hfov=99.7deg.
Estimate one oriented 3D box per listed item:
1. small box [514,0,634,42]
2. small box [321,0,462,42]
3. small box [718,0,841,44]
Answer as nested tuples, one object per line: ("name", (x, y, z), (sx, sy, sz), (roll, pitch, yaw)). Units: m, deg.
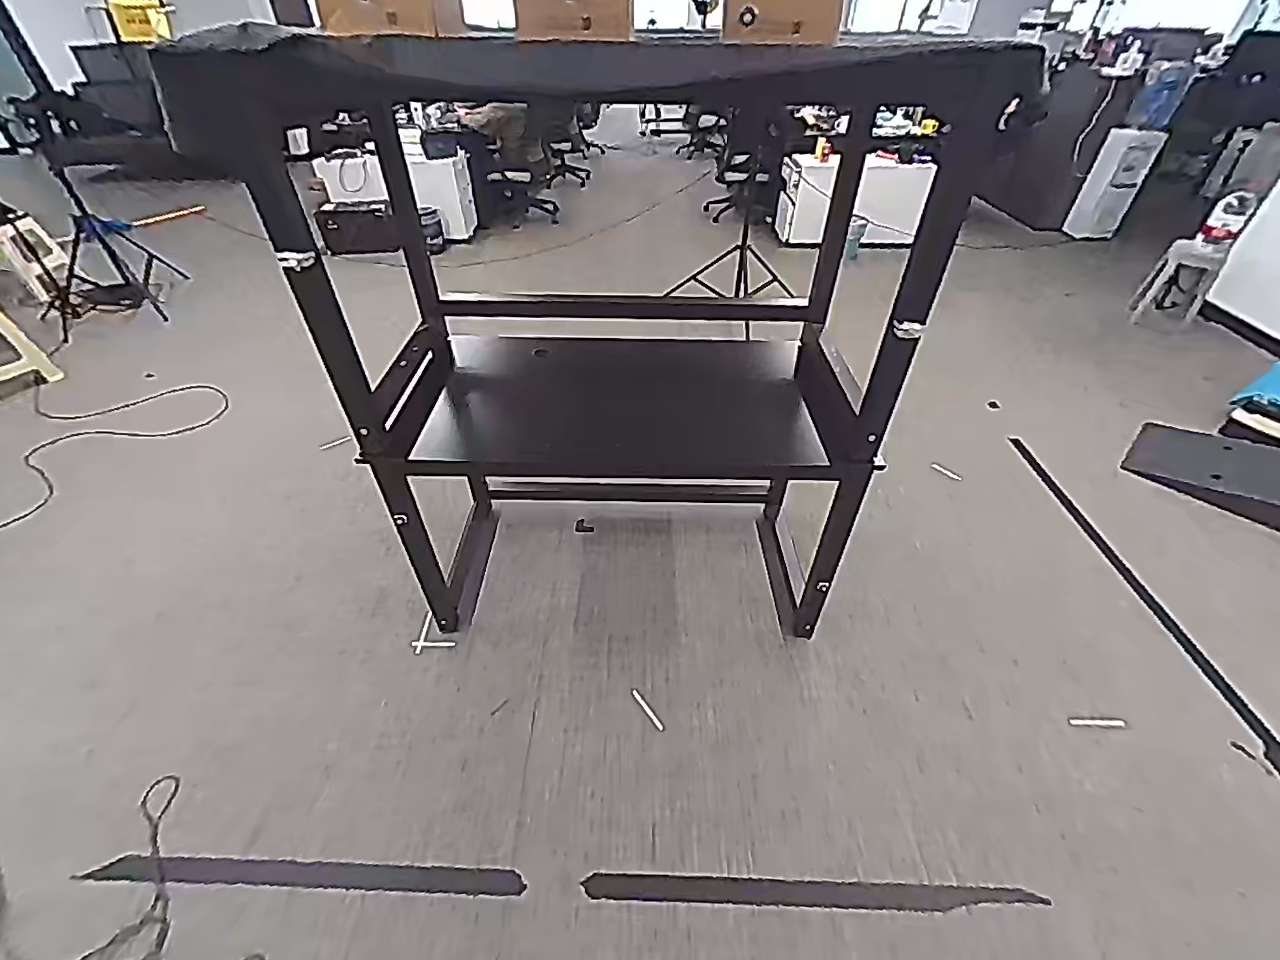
("small box", (-0.094, -0.749, 0.784), (0.168, 0.176, 0.179), (1, 39, 1))
("small box", (-0.367, -0.751, 0.783), (0.168, 0.176, 0.179), (1, 40, -1))
("small box", (0.205, -0.747, 0.788), (0.168, 0.176, 0.179), (3, 40, 3))
